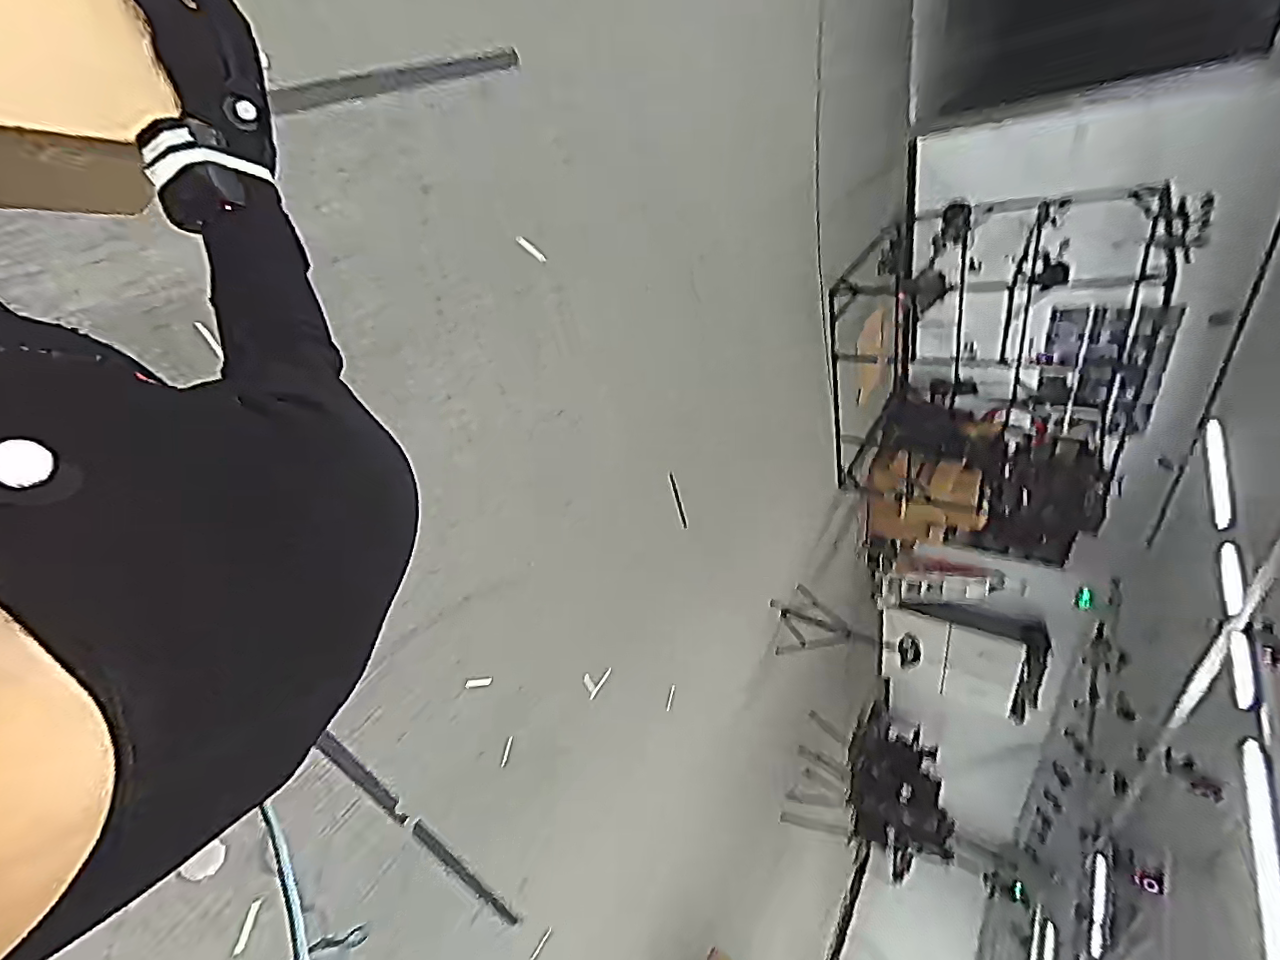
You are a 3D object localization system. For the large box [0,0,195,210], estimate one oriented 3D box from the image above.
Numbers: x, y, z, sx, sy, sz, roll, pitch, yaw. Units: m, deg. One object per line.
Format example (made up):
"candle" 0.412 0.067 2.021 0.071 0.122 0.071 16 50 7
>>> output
"large box" -0.614 -0.384 0.354 0.408 0.320 0.320 -21 115 -45
